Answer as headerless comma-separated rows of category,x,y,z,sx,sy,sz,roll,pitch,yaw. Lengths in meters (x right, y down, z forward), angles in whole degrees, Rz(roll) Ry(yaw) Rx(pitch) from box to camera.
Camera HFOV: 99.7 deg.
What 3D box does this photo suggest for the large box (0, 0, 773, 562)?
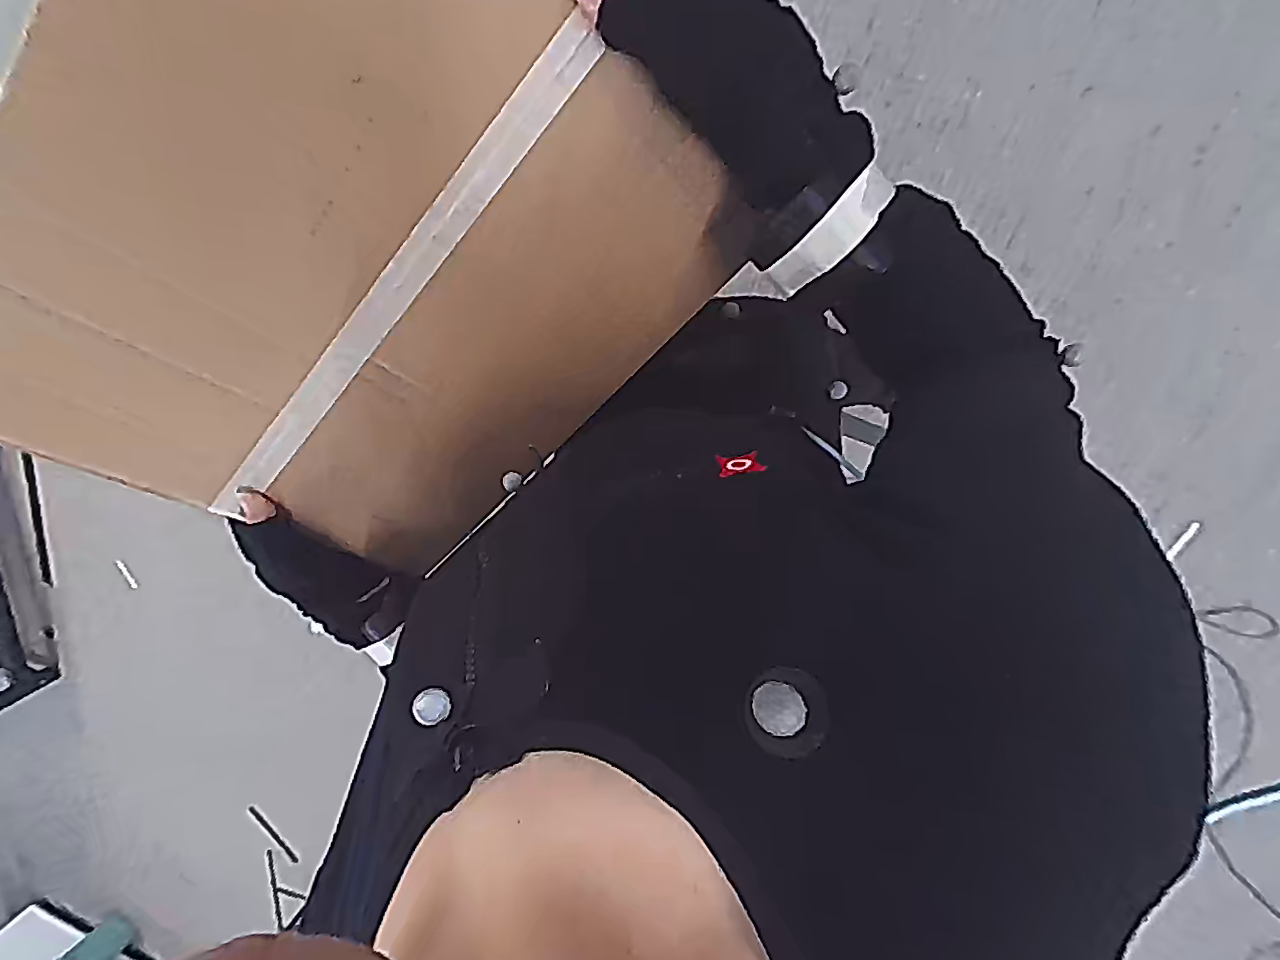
large box,-0.183,-0.208,0.434,0.408,0.320,0.320,-41,132,20
